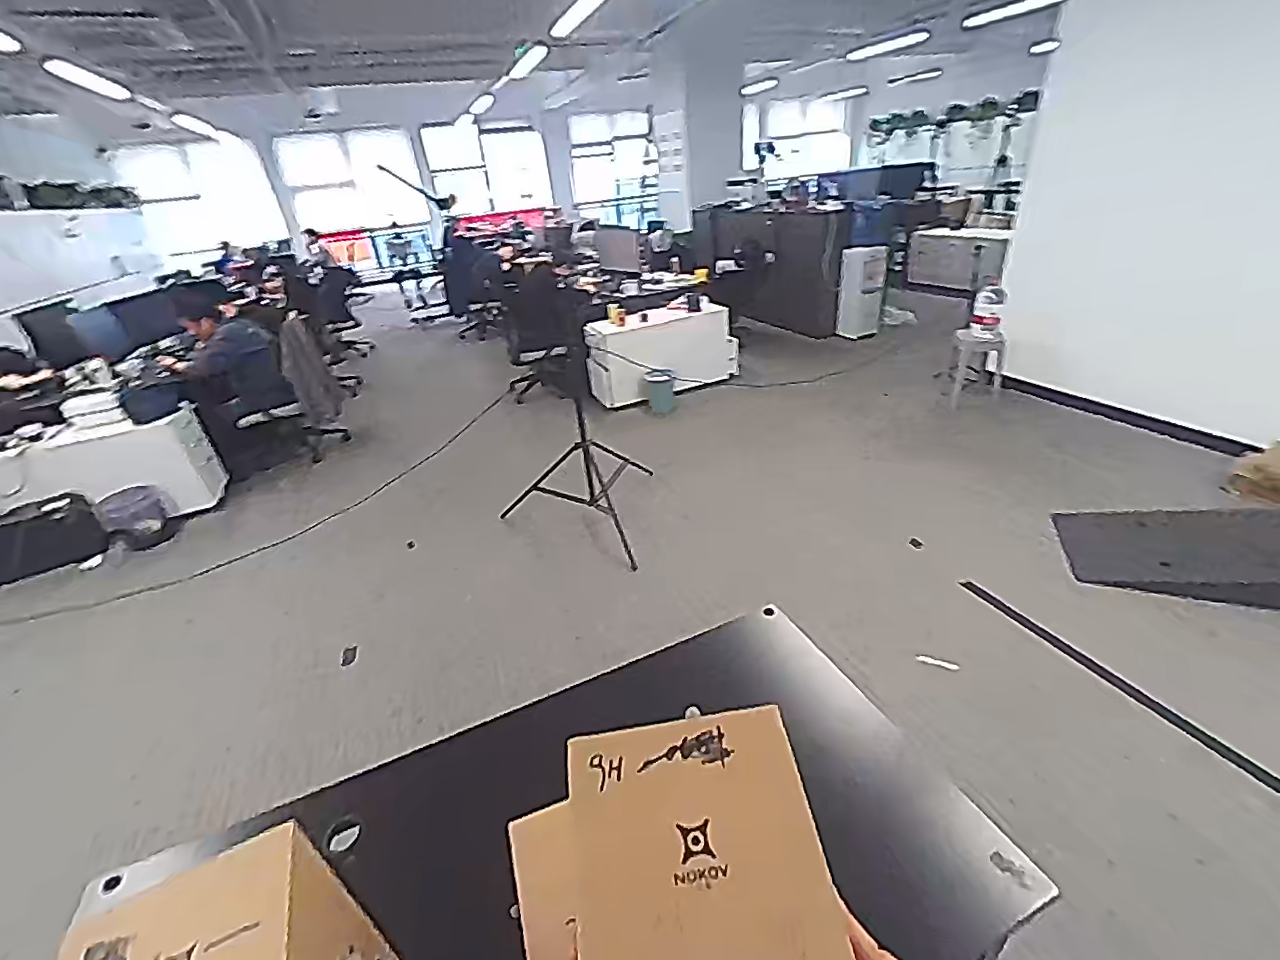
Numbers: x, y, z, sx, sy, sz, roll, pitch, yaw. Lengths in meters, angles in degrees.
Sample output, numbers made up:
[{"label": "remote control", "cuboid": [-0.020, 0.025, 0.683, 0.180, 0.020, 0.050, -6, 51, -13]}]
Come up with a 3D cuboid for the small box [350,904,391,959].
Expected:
[{"label": "small box", "cuboid": [-0.342, 0.599, 0.546, 0.168, 0.176, 0.179, -20, 33, -21]}]

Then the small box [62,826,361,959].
[{"label": "small box", "cuboid": [-0.359, 0.458, 0.461, 0.179, 0.176, 0.168, -19, 32, -22]}]

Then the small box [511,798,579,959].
[{"label": "small box", "cuboid": [-0.048, 0.506, 0.645, 0.168, 0.176, 0.179, -15, 30, -14]}]

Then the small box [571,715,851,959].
[{"label": "small box", "cuboid": [0.044, 0.305, 0.416, 0.168, 0.176, 0.179, -8, 50, -3]}]
